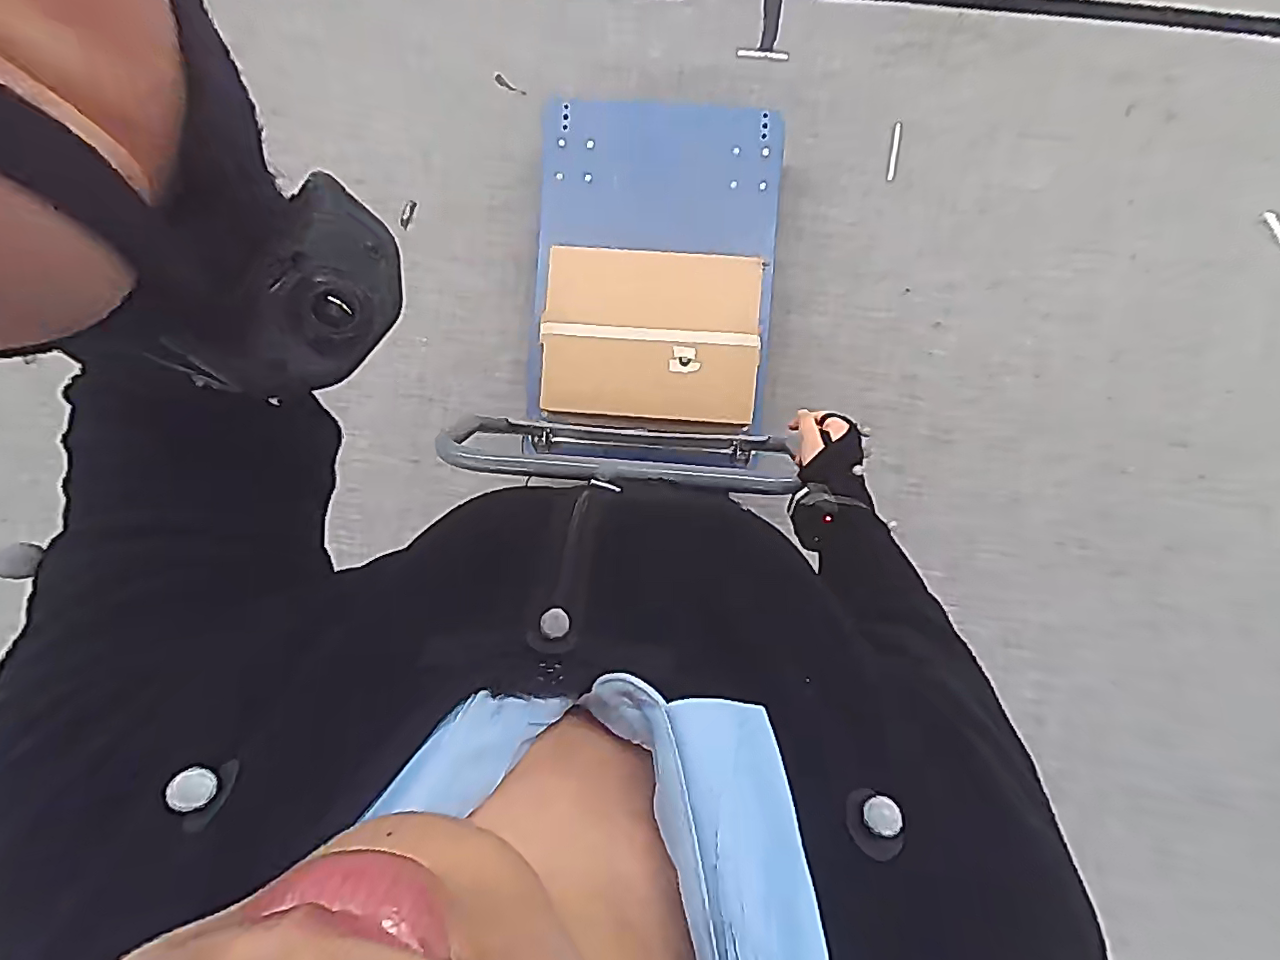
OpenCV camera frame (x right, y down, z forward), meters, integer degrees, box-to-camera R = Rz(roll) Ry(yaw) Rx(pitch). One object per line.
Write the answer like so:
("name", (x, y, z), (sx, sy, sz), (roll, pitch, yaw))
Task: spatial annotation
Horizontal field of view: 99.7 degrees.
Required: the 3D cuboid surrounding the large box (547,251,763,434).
("large box", (0.028, -0.273, 1.175), (0.408, 0.320, 0.320), (4, 92, 1))
